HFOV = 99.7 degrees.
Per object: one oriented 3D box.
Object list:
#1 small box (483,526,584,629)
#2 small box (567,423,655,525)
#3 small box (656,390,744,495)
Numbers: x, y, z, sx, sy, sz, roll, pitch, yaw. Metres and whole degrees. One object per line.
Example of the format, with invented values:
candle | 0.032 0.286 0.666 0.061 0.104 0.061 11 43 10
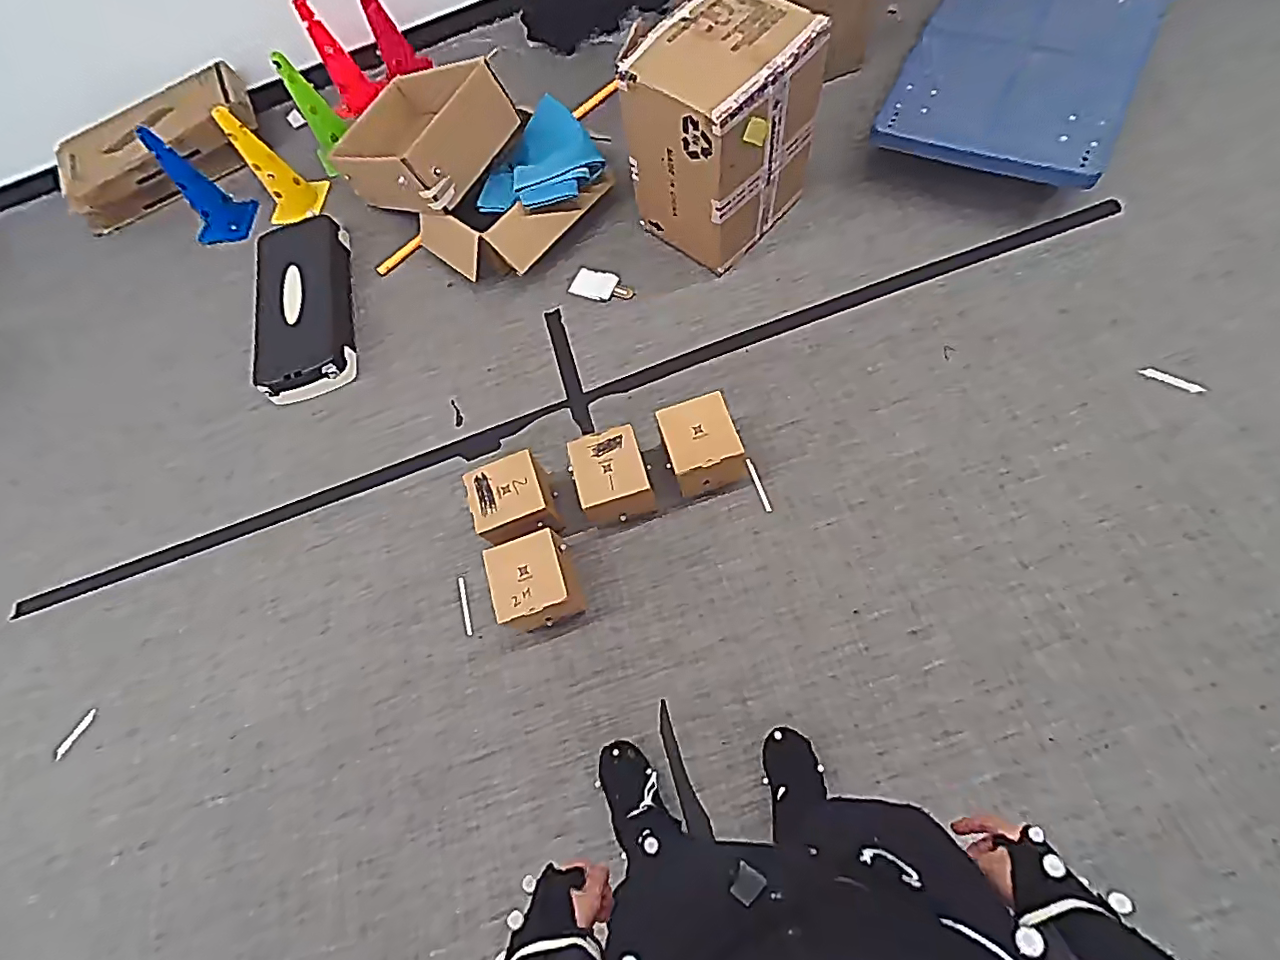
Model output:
small box | -0.246 0.234 1.267 0.168 0.176 0.179 -20 67 2
small box | -0.068 -0.009 1.334 0.168 0.176 0.179 -17 68 2
small box | 0.146 -0.088 1.334 0.168 0.176 0.179 -19 68 1
